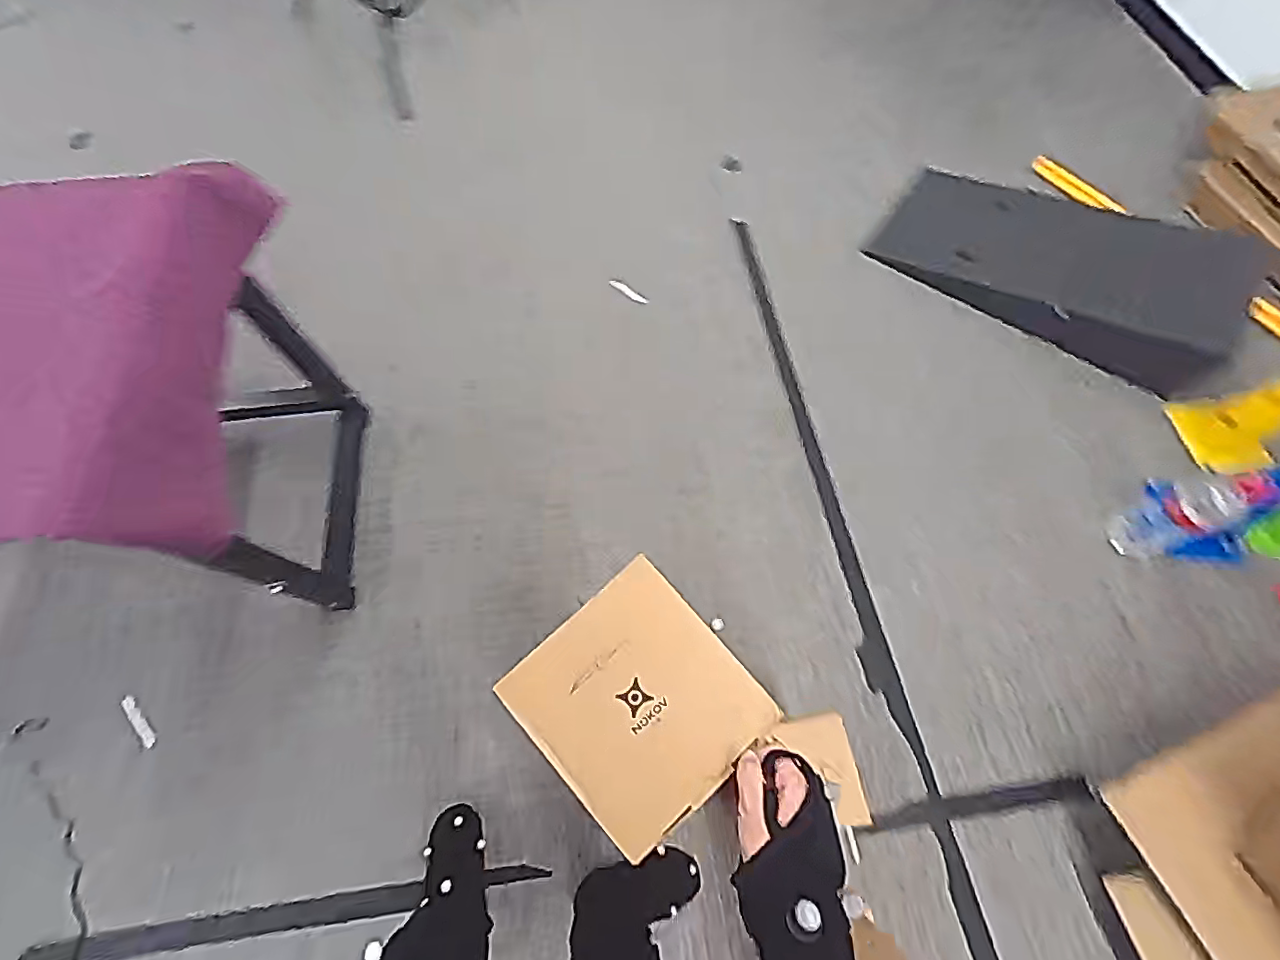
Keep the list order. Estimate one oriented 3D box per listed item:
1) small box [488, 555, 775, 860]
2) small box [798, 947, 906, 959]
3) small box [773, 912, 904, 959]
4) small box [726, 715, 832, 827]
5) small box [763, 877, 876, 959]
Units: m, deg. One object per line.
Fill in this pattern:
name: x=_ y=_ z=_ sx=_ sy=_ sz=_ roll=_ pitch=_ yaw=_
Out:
small box: x=-0.008 y=0.191 z=0.510 sx=0.168 sy=0.176 sz=0.179 roll=-42 pitch=82 yaw=-10
small box: x=0.310 y=0.741 z=0.687 sx=0.168 sy=0.176 sz=0.179 roll=-3 pitch=68 yaw=0
small box: x=0.316 y=0.804 z=0.838 sx=0.168 sy=0.176 sz=0.179 roll=-6 pitch=68 yaw=-1
small box: x=0.268 y=0.588 z=1.110 sx=0.168 sy=0.176 sz=0.179 roll=-7 pitch=67 yaw=-3
small box: x=0.334 y=0.861 z=0.993 sx=0.179 sy=0.176 sz=0.168 roll=-8 pitch=68 yaw=-3
